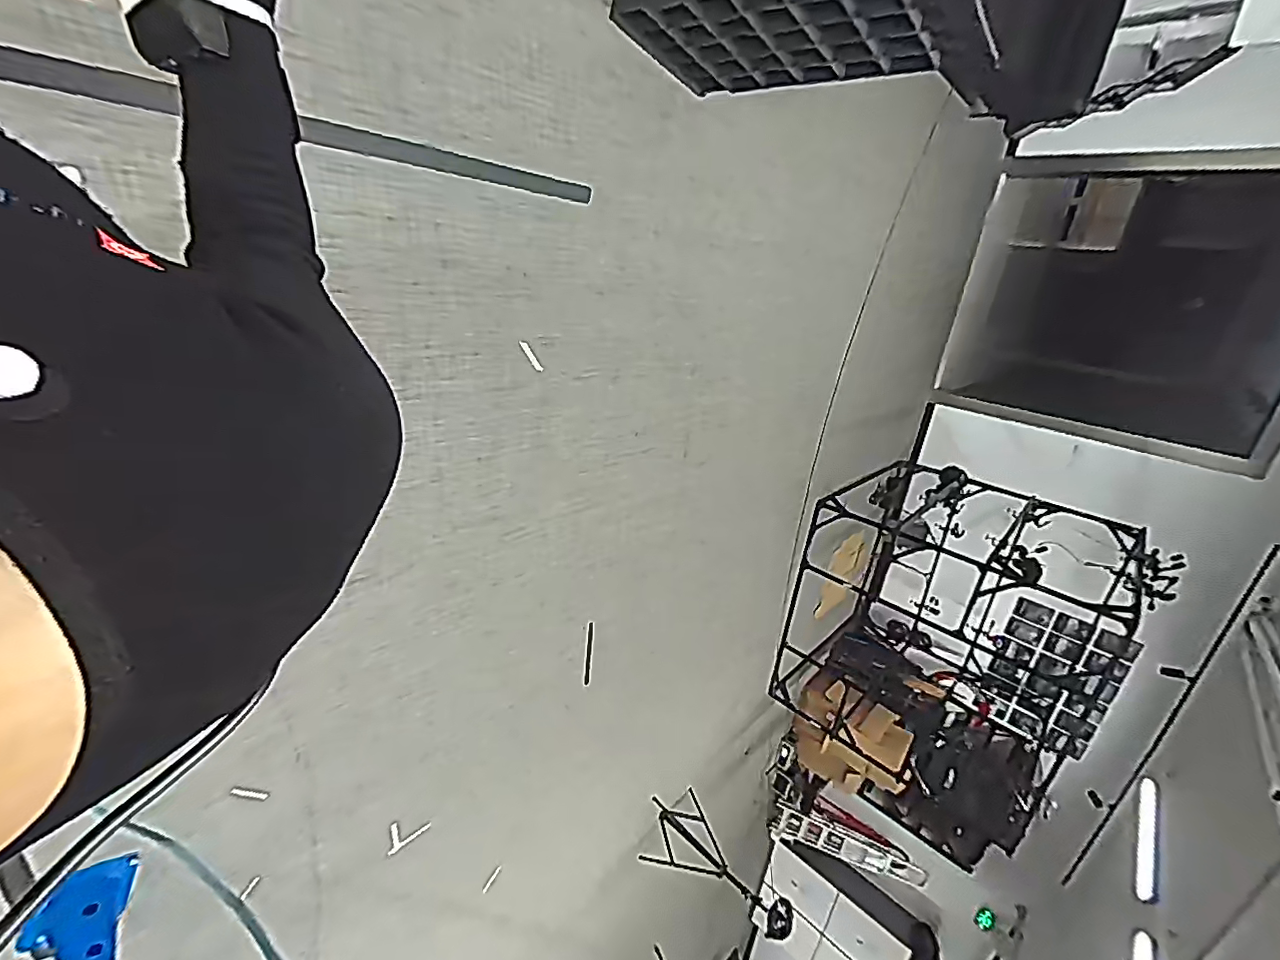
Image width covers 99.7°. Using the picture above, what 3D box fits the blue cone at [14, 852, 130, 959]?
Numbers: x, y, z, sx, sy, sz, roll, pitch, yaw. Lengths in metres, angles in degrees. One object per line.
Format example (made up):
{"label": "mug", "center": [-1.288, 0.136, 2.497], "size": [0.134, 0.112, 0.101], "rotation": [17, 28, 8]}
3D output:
{"label": "blue cone", "center": [-1.303, 1.104, 1.261], "size": [0.193, 0.380, 0.192], "rotation": [14, 98, -53]}
